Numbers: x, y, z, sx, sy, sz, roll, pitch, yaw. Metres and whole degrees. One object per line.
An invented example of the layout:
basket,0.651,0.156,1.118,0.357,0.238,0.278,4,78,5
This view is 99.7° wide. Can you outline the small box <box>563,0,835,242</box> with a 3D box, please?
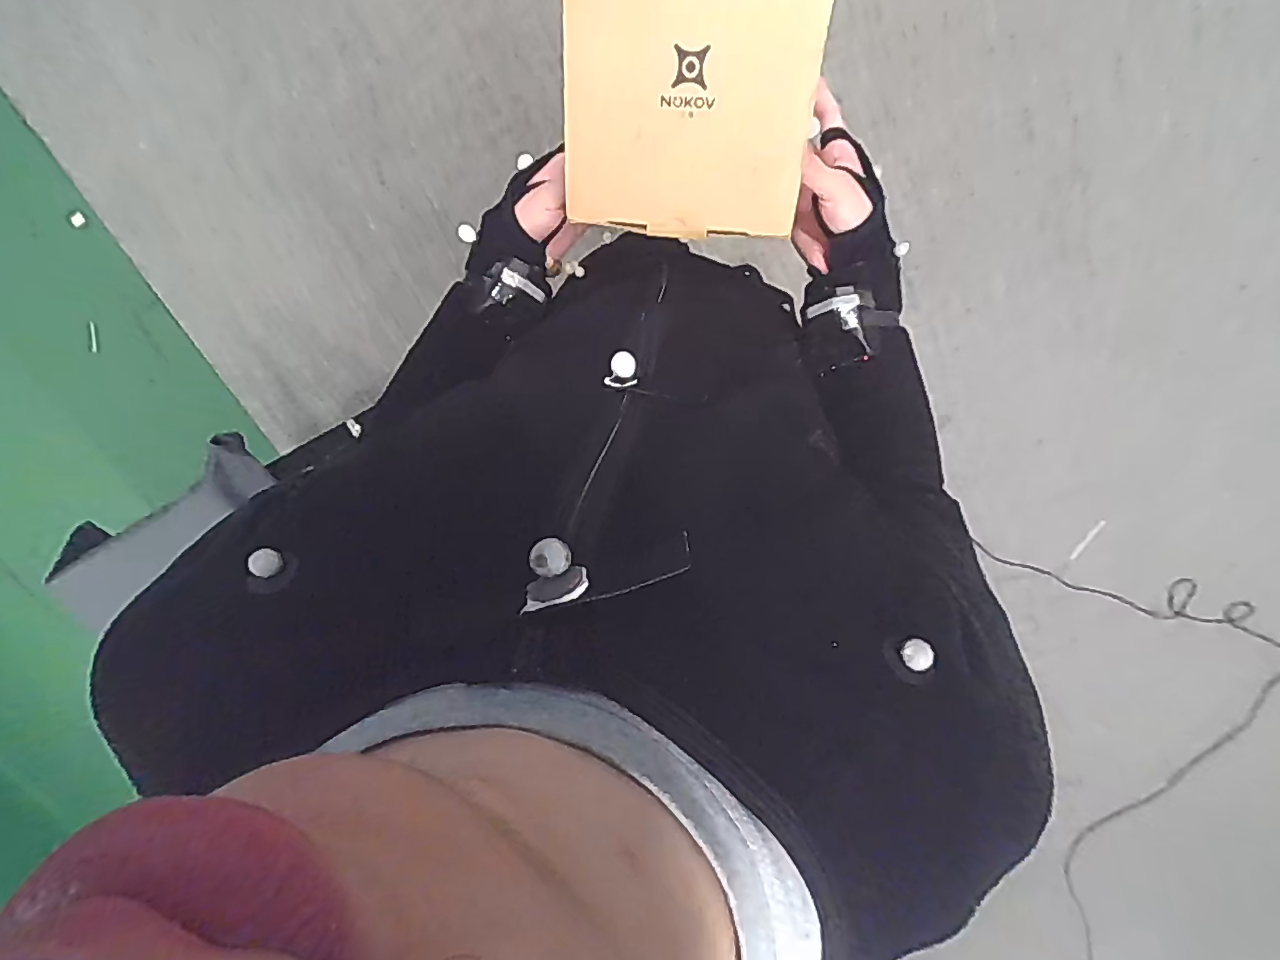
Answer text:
small box,0.042,-0.294,0.413,0.168,0.176,0.179,7,121,4
